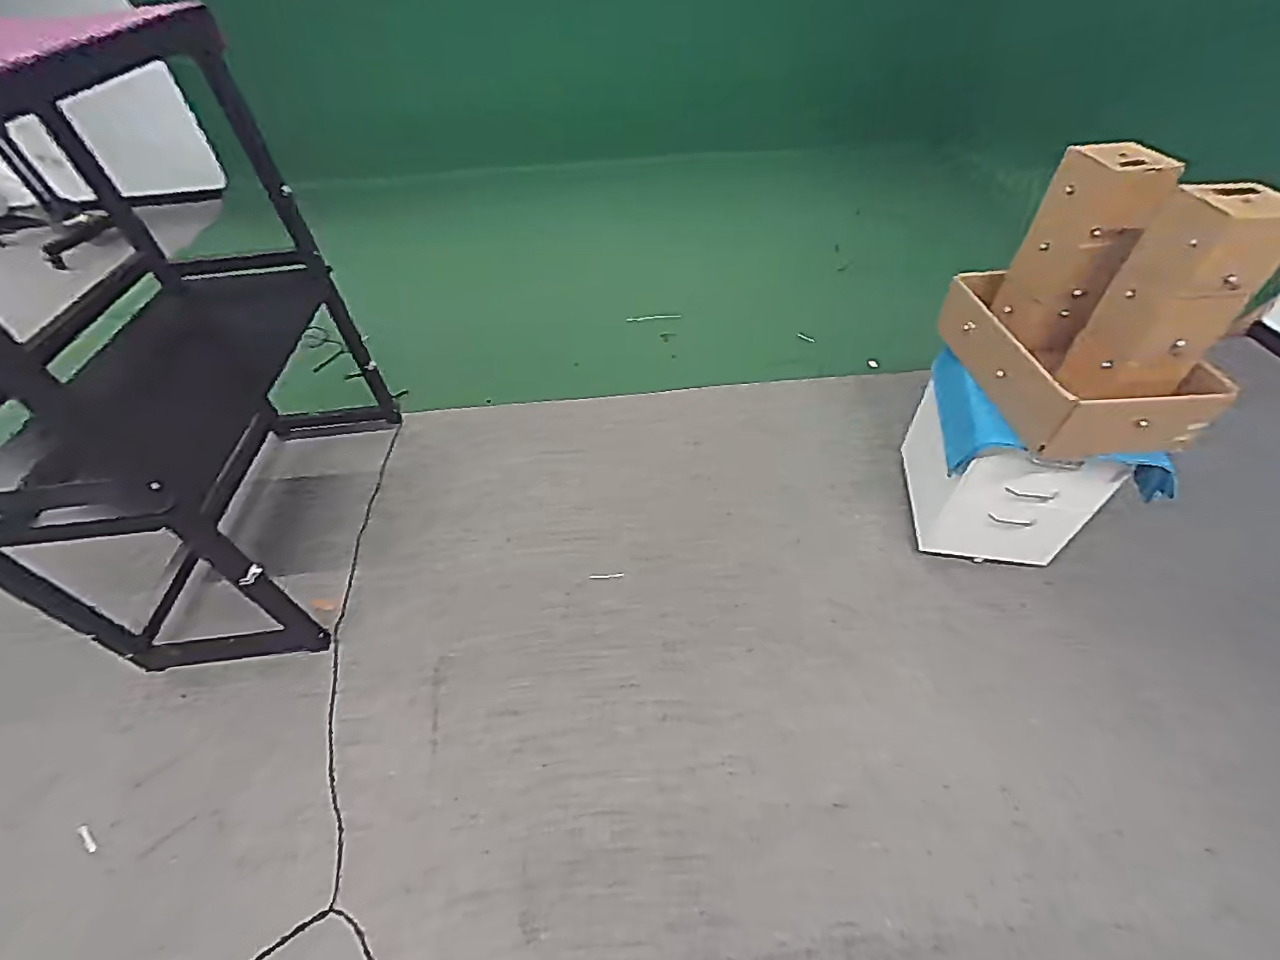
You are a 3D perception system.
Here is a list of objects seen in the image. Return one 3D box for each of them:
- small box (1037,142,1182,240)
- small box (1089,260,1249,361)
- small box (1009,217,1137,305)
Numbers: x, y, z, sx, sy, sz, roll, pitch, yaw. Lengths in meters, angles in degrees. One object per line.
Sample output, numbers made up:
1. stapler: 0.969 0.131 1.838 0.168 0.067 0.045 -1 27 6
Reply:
1. small box: 1.136 -0.703 1.327 0.168 0.176 0.179 -5 47 -2
2. small box: 1.217 -0.396 1.266 0.168 0.176 0.179 -1 47 2
3. small box: 1.139 -0.589 1.444 0.168 0.176 0.179 -7 49 -4
